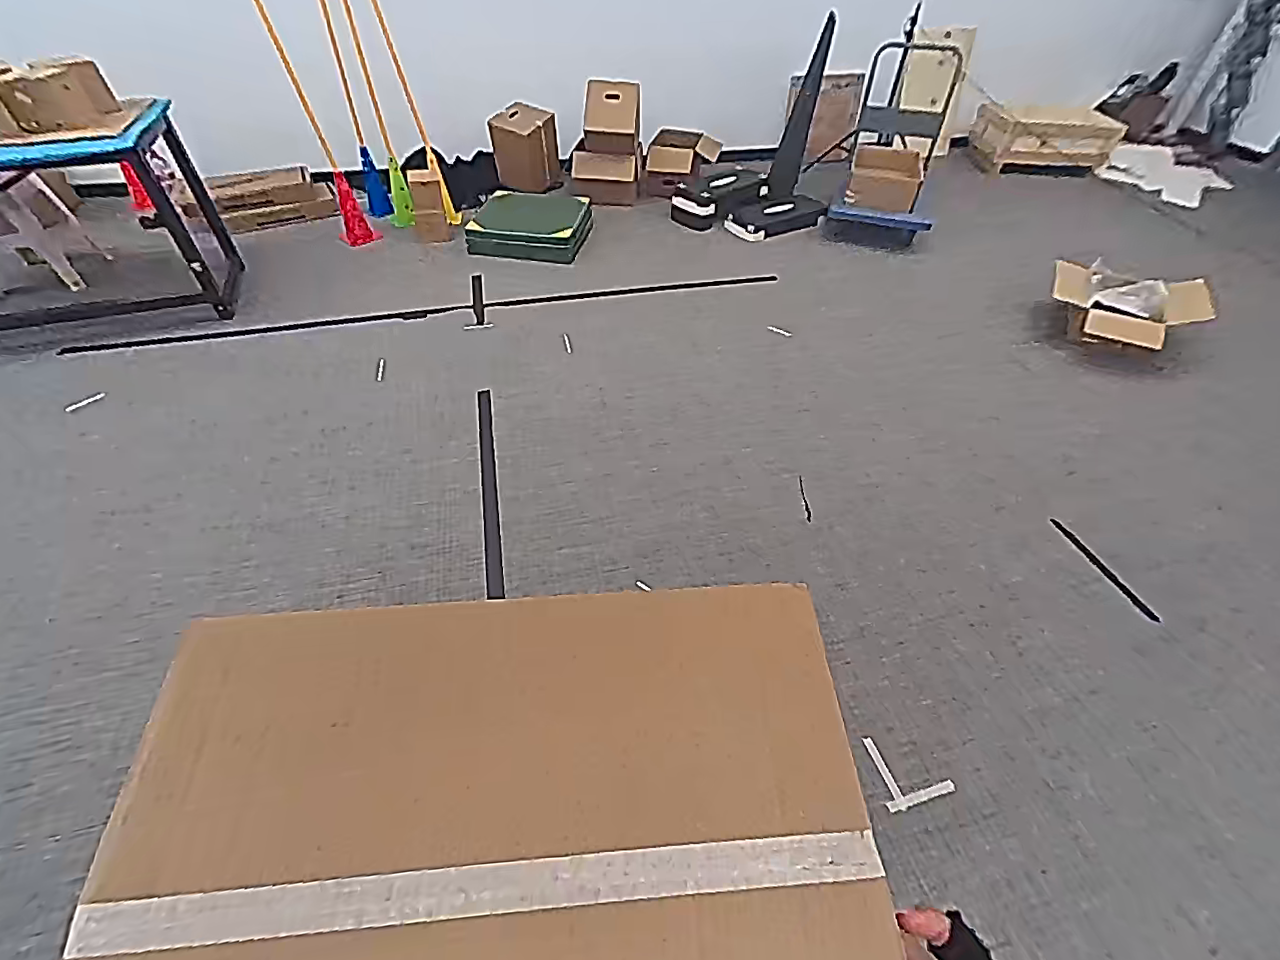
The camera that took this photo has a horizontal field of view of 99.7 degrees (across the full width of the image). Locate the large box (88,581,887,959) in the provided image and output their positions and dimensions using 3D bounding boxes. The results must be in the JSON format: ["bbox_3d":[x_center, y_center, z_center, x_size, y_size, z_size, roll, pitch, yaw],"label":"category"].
[{"bbox_3d":[-0.080,0.293,0.415,0.408,0.320,0.320,-3,58,-4],"label":"large box"}]
